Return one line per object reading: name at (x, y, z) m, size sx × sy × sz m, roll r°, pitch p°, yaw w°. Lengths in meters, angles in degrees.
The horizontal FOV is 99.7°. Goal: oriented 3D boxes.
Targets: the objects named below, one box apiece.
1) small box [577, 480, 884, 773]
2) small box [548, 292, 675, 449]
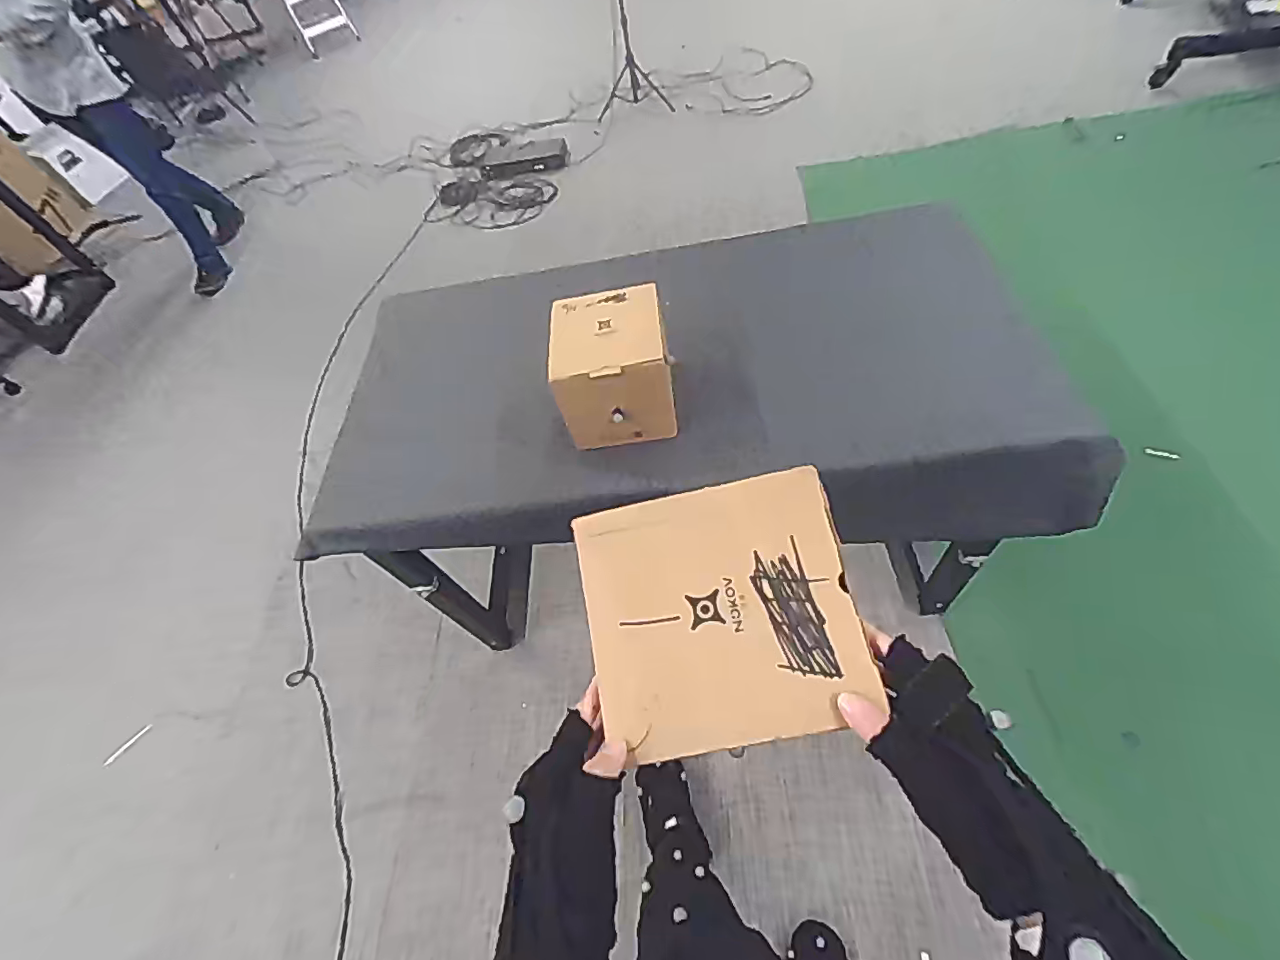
small box at (0.062, 0.115, 0.433) m, size 0.179 × 0.176 × 0.168 m, roll -12°, pitch 71°, yaw 5°
small box at (-0.039, -0.163, 0.855) m, size 0.168 × 0.176 × 0.179 m, roll -8°, pitch 56°, yaw 6°
